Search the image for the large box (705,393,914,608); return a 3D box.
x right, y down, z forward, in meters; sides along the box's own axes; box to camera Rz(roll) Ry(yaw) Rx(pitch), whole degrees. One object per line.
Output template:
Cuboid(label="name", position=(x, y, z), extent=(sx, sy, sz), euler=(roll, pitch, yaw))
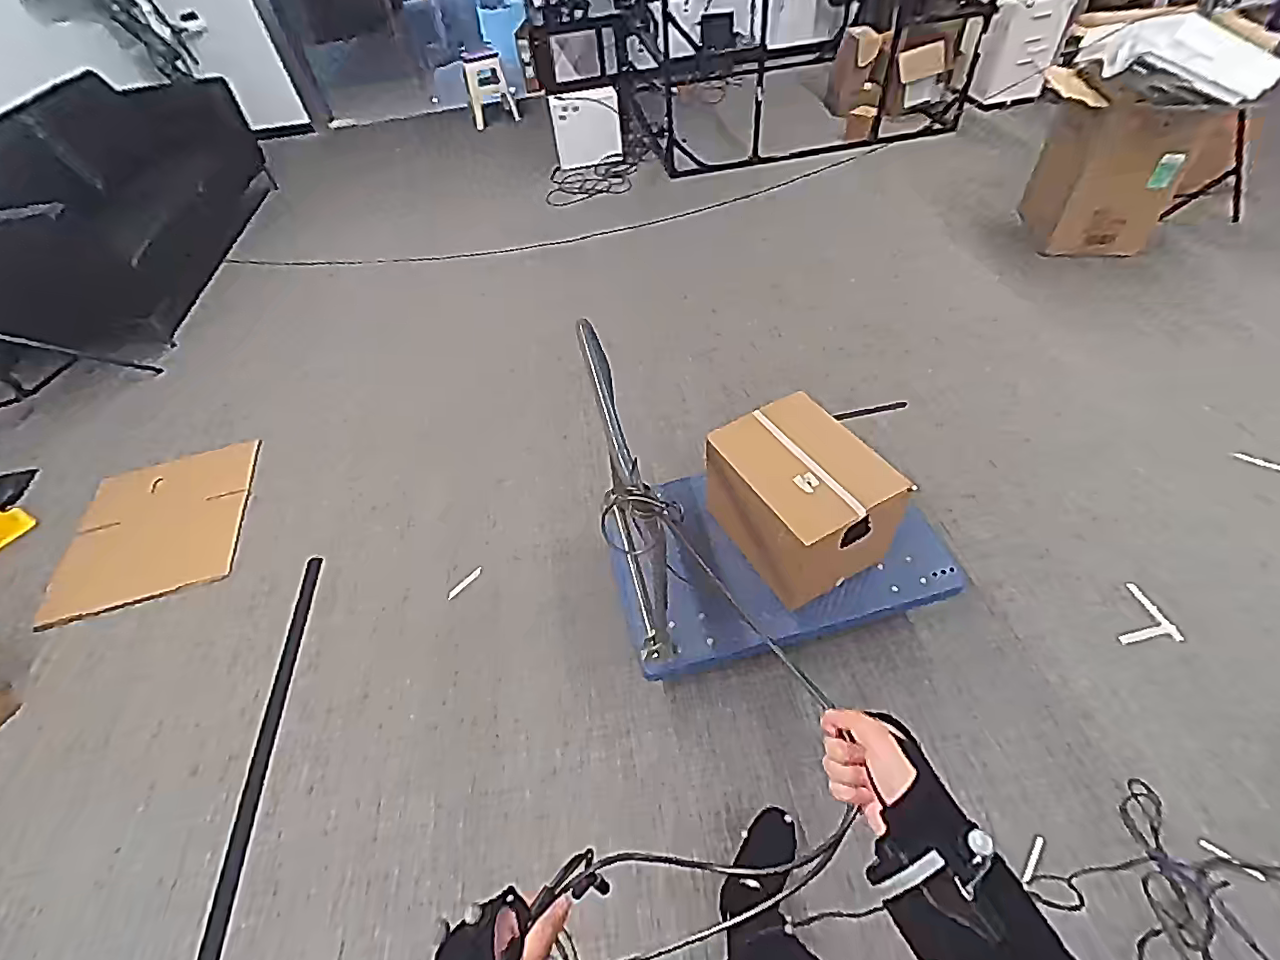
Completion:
Cuboid(label="large box", position=(0.406, 0.046, 1.415), extent=(0.320, 0.320, 0.408), euler=(-27, 53, -13))
